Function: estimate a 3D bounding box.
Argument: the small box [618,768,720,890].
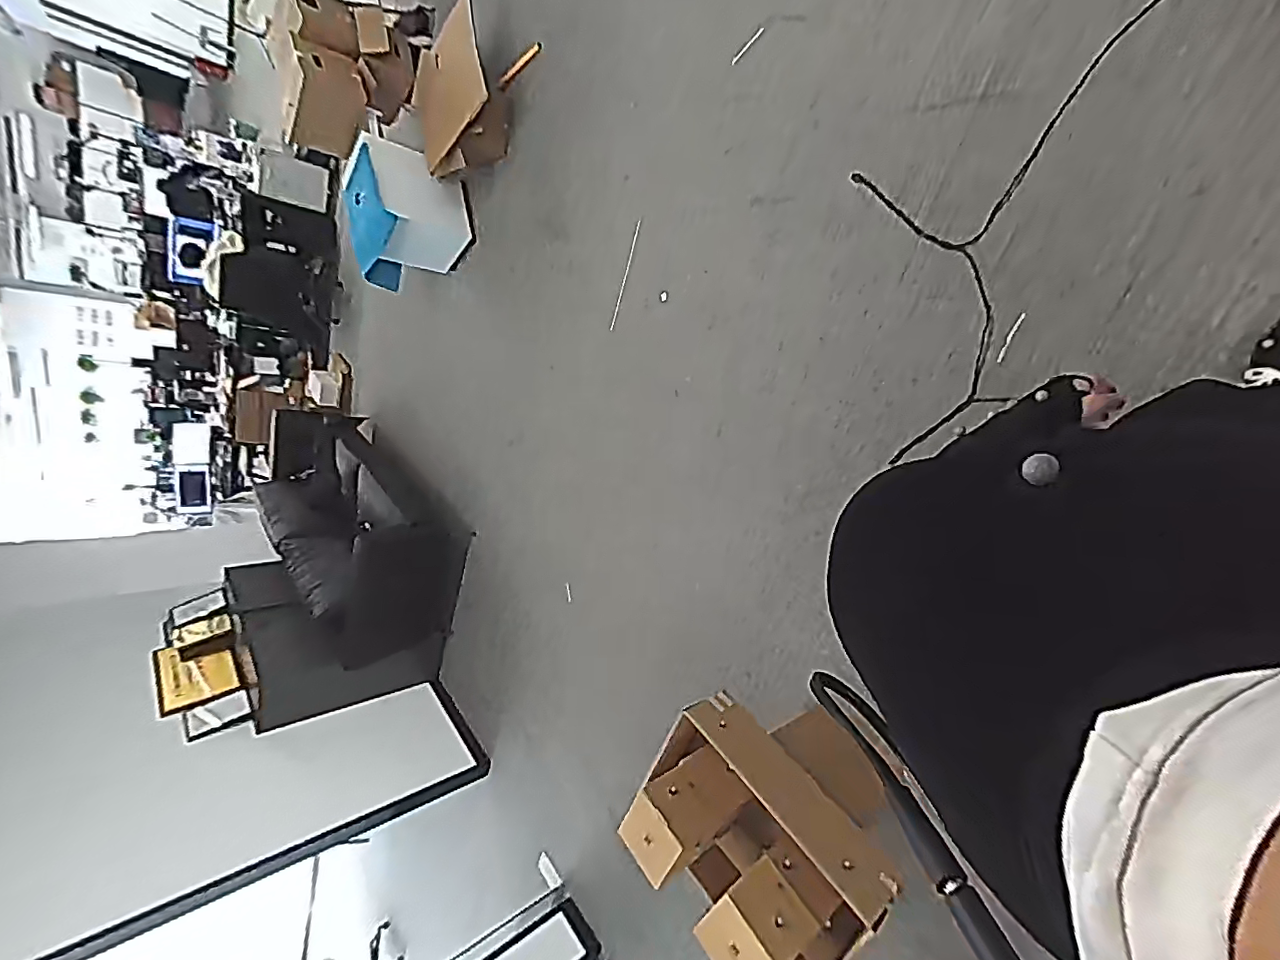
[{"bbox_3d":[0.079,0.884,1.388,0.168,0.176,0.179,42,120,38],"label":"small box"}]

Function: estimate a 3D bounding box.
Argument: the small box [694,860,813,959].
[{"bbox_3d":[0.259,1.006,1.212,0.168,0.176,0.179,44,121,35],"label":"small box"}]
